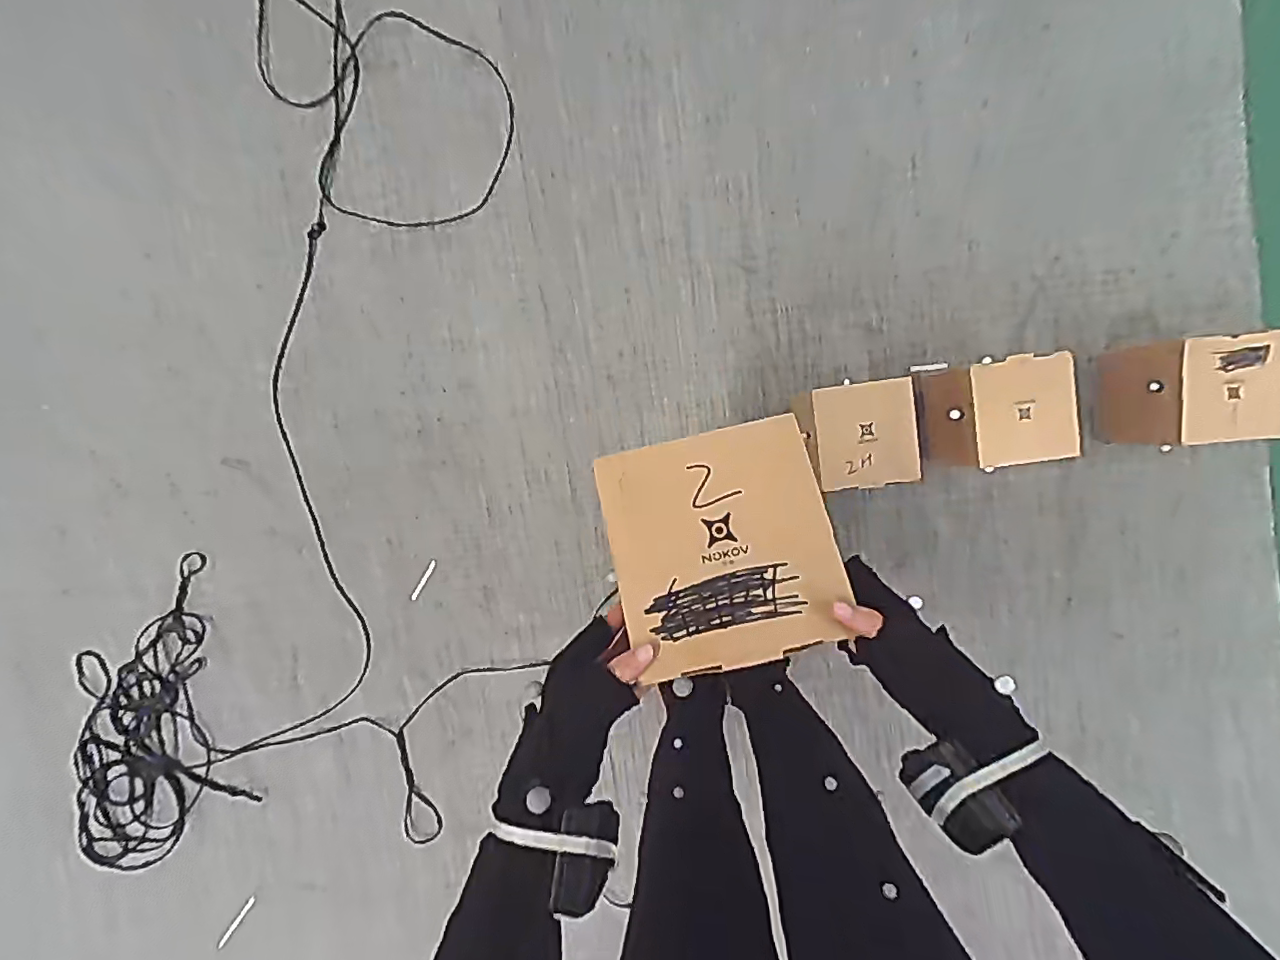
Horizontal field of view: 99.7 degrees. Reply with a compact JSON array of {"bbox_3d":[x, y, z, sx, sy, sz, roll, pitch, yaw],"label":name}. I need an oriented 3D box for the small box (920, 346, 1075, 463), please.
[{"bbox_3d":[0.630,-0.131,0.971,0.168,0.176,0.179,-8,93,3],"label":"small box"}]

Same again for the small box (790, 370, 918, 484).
[{"bbox_3d":[0.378,-0.092,0.981,0.168,0.176,0.179,-7,94,4],"label":"small box"}]

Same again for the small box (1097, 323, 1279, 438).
[{"bbox_3d":[0.953,-0.167,0.954,0.168,0.176,0.179,-4,95,3],"label":"small box"}]
